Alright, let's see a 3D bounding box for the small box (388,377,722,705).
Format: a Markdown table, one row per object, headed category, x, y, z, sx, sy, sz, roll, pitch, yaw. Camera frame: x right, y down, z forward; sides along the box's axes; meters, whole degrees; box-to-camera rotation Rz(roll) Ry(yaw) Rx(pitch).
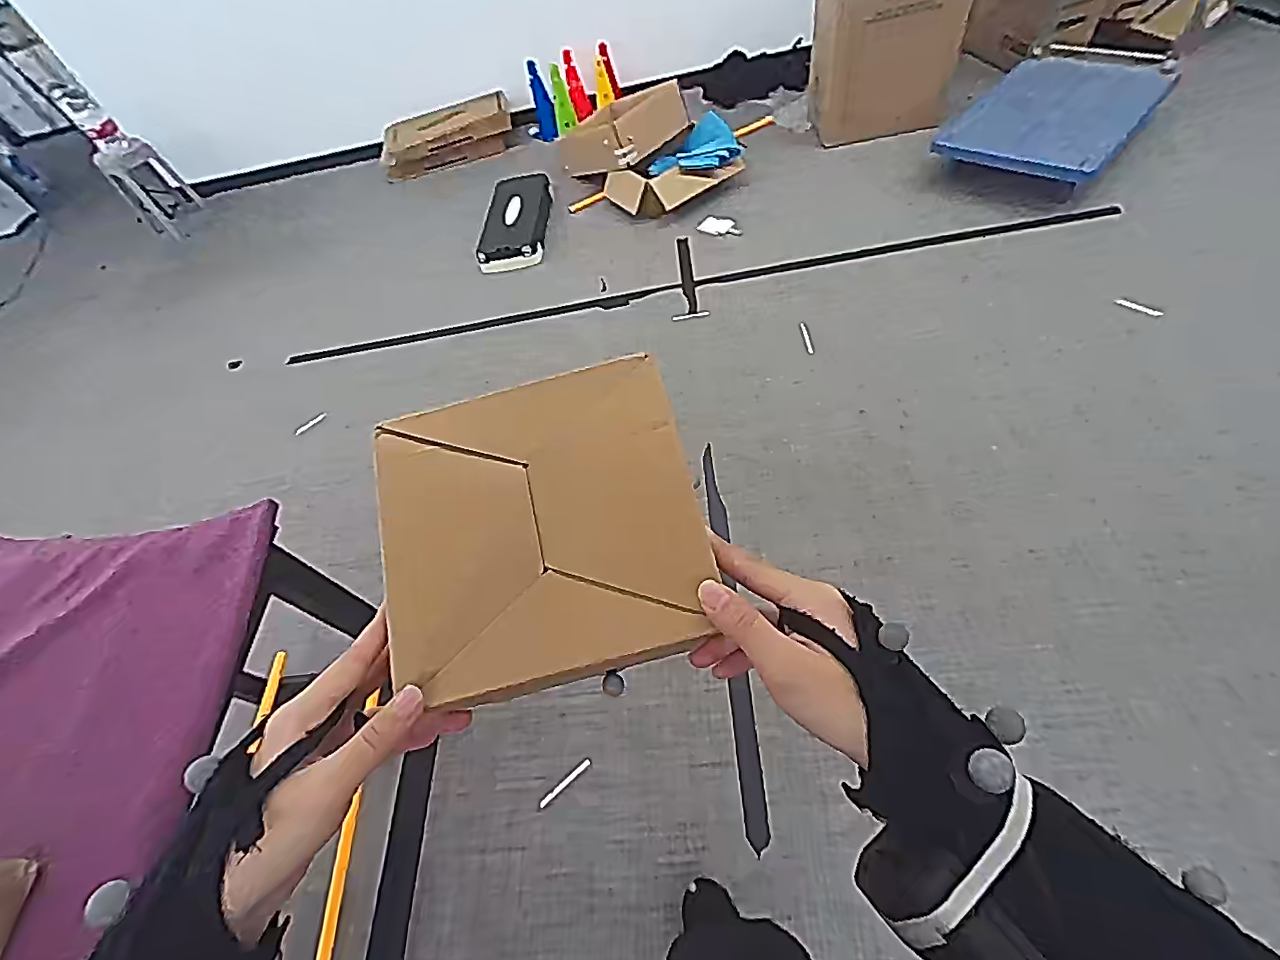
| category | x | y | z | sx | sy | sz | roll | pitch | yaw |
| --- | --- | --- | --- | --- | --- | --- | --- | --- | --- |
| small box | -0.051 | 0.051 | 0.377 | 0.179 | 0.176 | 0.168 | -15 | 69 | 0 |
